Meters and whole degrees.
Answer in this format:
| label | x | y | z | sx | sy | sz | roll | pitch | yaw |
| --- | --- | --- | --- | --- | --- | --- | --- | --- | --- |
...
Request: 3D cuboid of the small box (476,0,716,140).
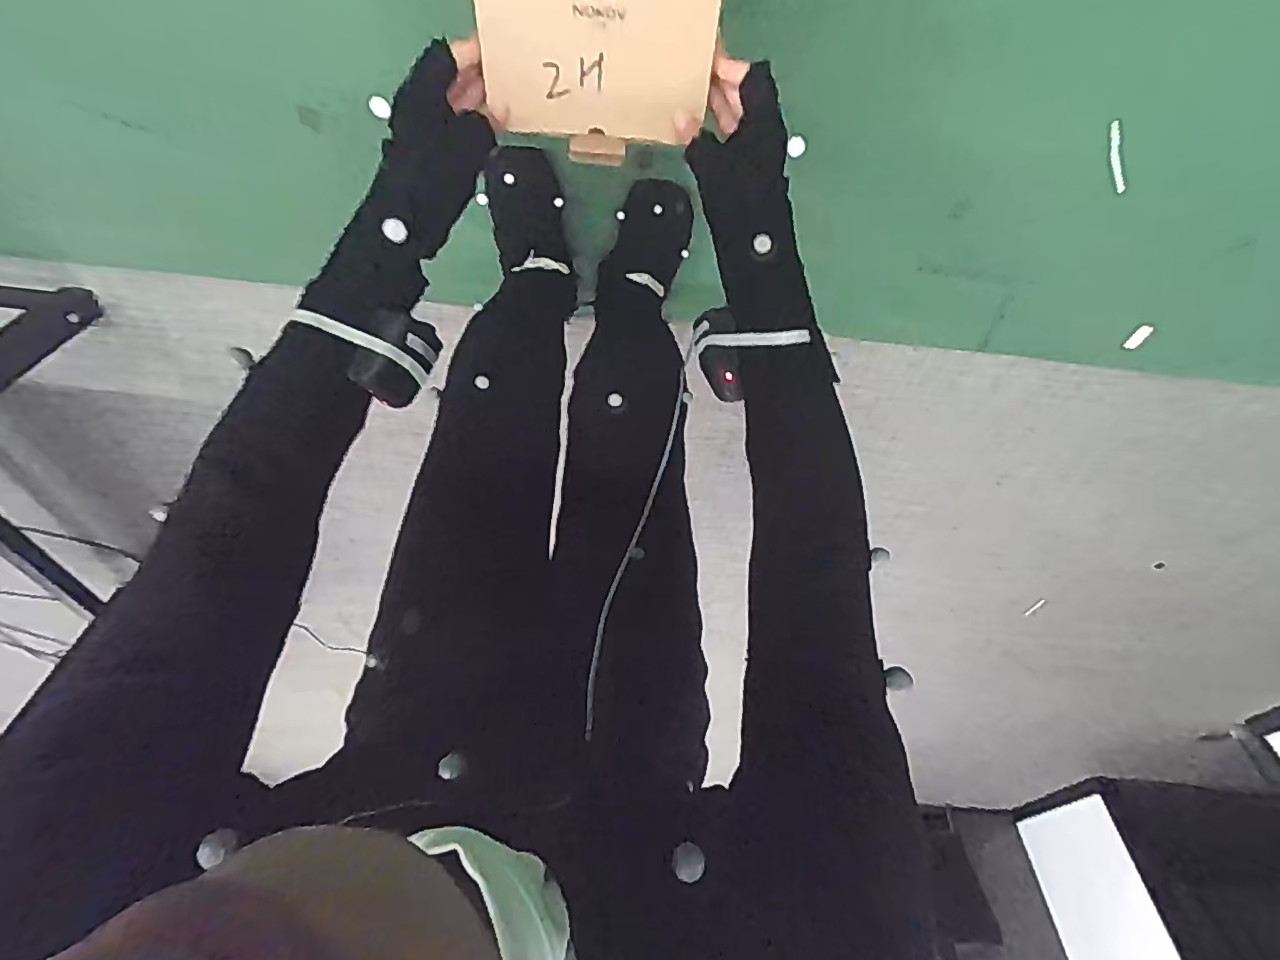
| label | x | y | z | sx | sy | sz | roll | pitch | yaw |
| --- | --- | --- | --- | --- | --- | --- | --- | --- | --- |
| small box | -0.030 | -0.392 | 0.412 | 0.168 | 0.176 | 0.179 | 3 | 140 | -3 |
